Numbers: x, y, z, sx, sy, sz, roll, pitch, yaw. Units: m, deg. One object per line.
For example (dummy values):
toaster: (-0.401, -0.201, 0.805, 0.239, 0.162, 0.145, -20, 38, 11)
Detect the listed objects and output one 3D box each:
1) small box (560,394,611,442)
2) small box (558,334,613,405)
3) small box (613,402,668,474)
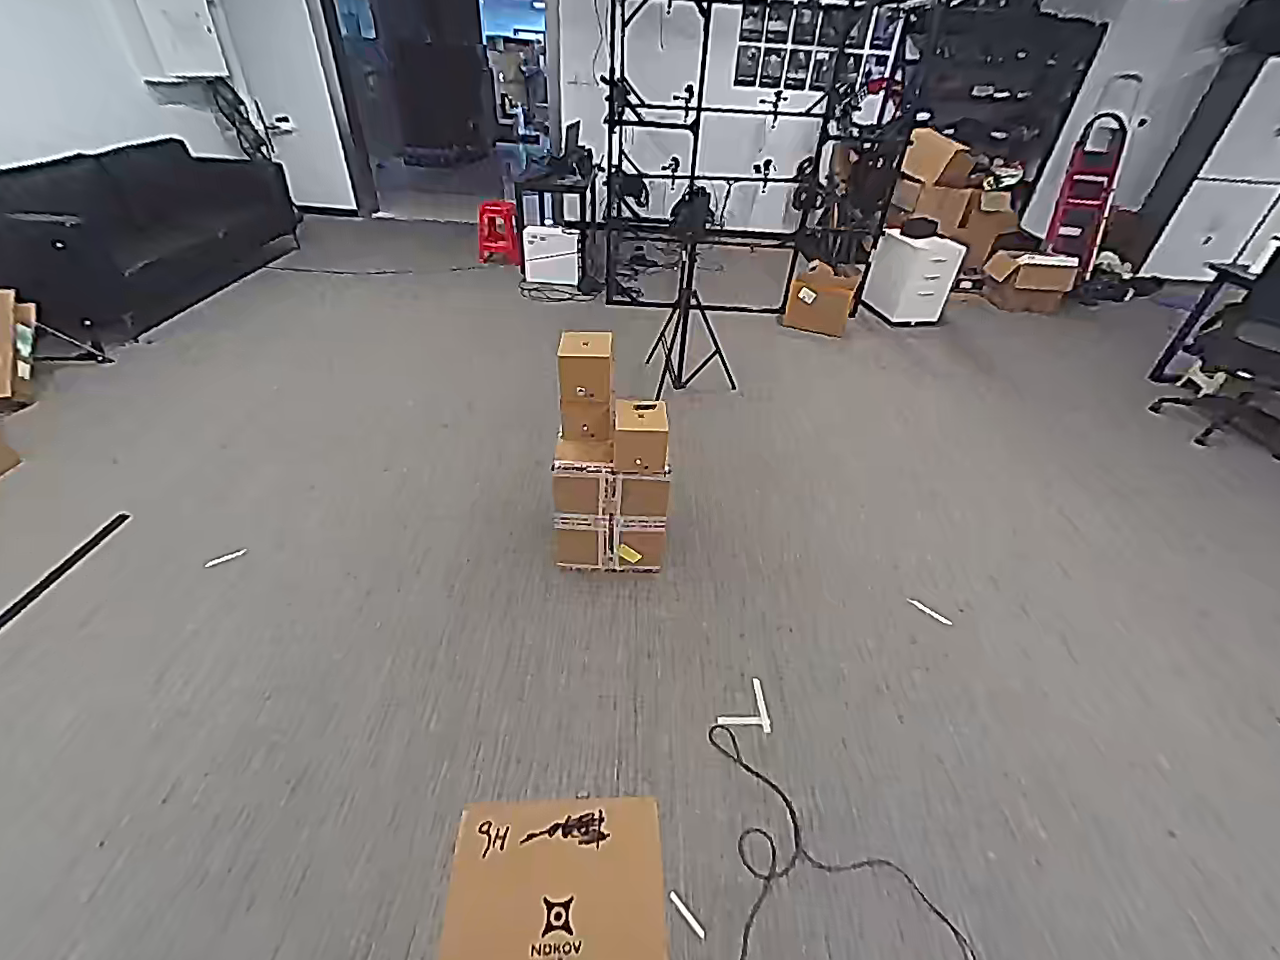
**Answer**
small box: (-0.187, -0.252, 1.897, 0.168, 0.176, 0.179, 1, 40, -1)
small box: (-0.176, -0.364, 1.778, 0.168, 0.176, 0.179, 0, 40, -1)
small box: (-0.003, -0.138, 1.770, 0.168, 0.176, 0.179, 1, 40, -4)
